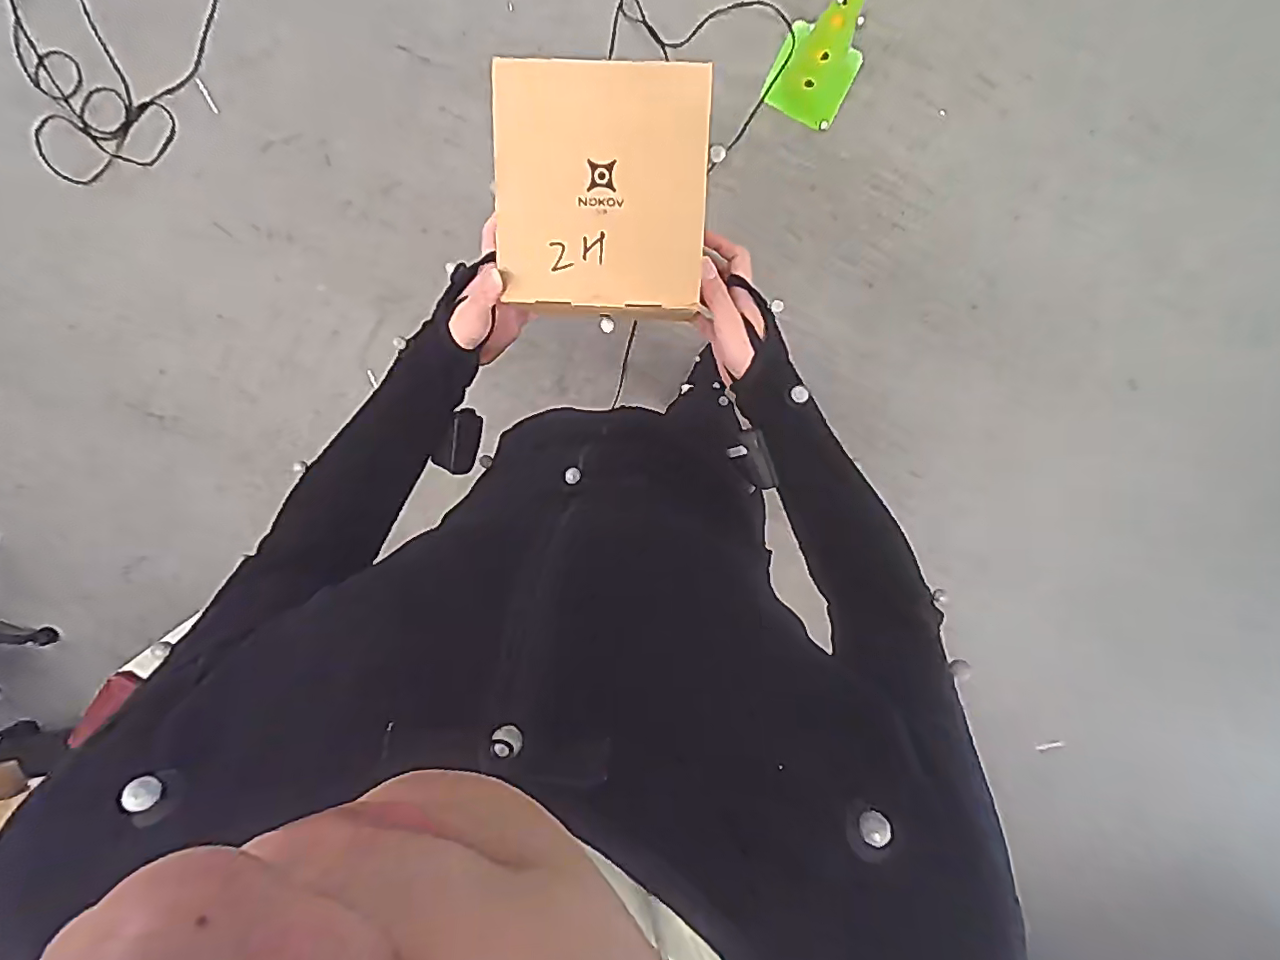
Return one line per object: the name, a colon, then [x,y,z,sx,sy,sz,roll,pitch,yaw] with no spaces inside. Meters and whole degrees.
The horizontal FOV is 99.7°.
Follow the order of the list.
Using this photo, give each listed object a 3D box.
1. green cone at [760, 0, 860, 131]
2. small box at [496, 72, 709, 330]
green cone: [0.426,-0.996,1.217,0.202,0.368,0.200,26,102,-2]
small box: [-0.032,-0.240,0.508,0.168,0.176,0.179,3,103,1]
